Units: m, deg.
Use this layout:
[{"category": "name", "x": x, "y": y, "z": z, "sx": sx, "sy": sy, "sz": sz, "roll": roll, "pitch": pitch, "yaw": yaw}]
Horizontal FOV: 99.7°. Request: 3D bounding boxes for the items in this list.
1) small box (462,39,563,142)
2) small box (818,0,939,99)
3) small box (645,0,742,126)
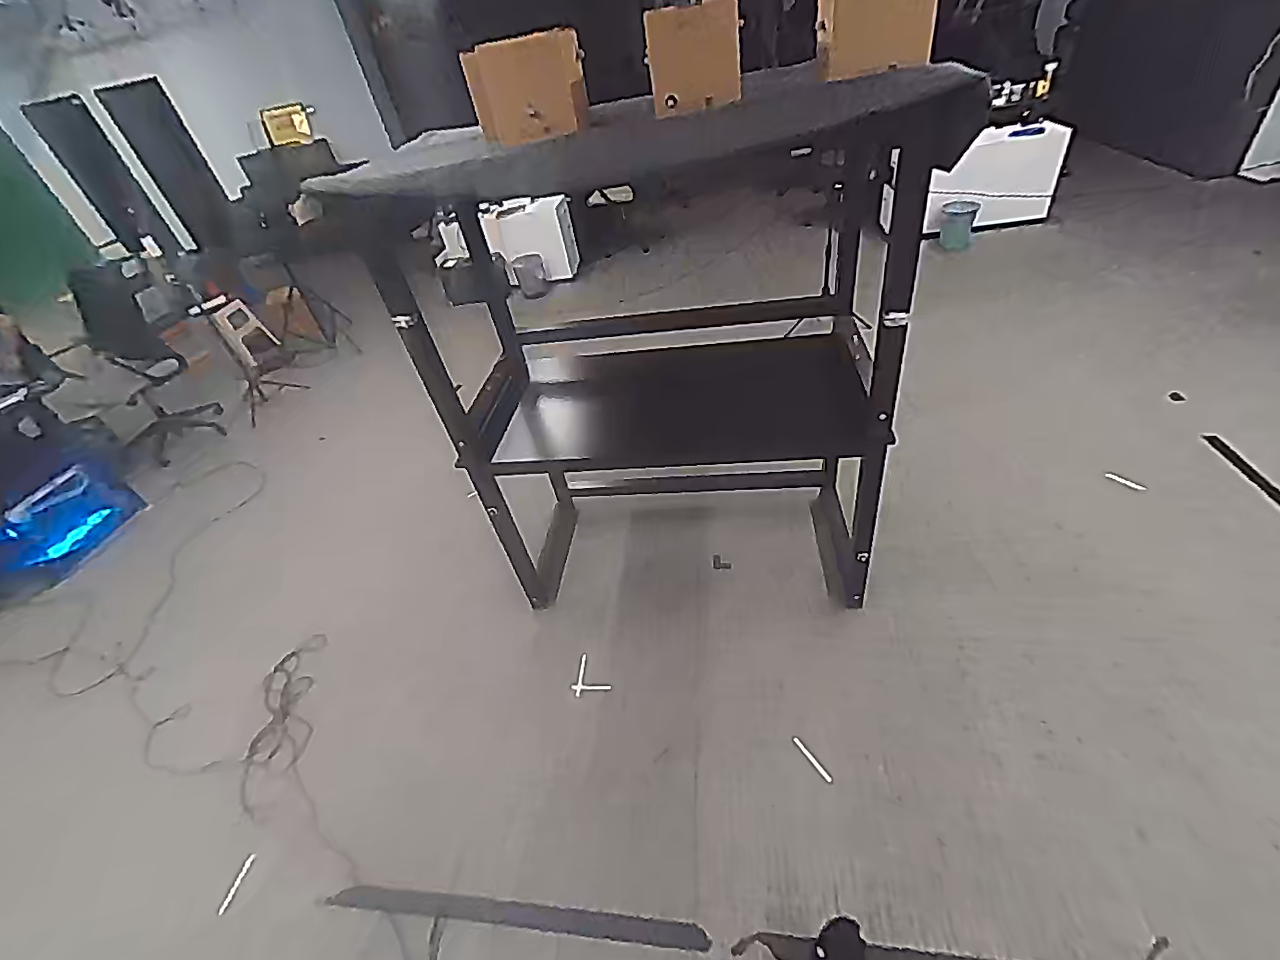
[{"category": "small box", "x": -0.292, "y": -0.927, "z": 1.288, "sx": 0.179, "sy": 0.176, "sz": 0.168, "roll": -4, "pitch": 41, "yaw": 8}, {"category": "small box", "x": 0.418, "y": -0.802, "z": 0.972, "sx": 0.168, "sy": 0.176, "sz": 0.179, "roll": -4, "pitch": 39, "yaw": 11}, {"category": "small box", "x": 0.109, "y": -0.808, "z": 1.054, "sx": 0.168, "sy": 0.176, "sz": 0.179, "roll": -4, "pitch": 40, "yaw": 9}]
